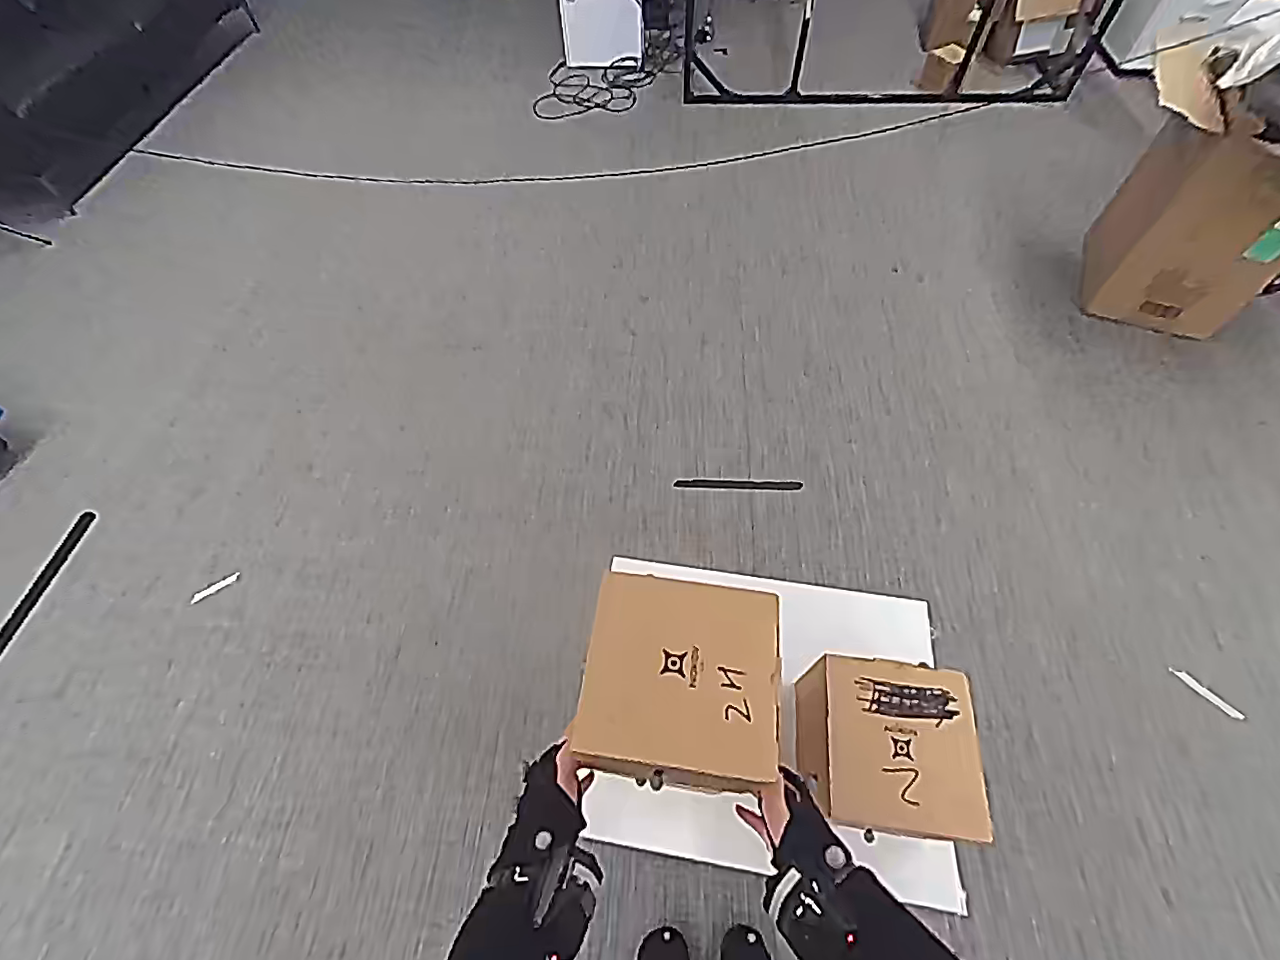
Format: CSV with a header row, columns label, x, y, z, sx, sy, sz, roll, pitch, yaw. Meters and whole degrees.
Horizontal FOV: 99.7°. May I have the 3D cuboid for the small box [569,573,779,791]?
label,x,y,z,sx,sy,sz,roll,pitch,yaw
small box,0.037,0.212,0.554,0.179,0.176,0.168,8,58,3
